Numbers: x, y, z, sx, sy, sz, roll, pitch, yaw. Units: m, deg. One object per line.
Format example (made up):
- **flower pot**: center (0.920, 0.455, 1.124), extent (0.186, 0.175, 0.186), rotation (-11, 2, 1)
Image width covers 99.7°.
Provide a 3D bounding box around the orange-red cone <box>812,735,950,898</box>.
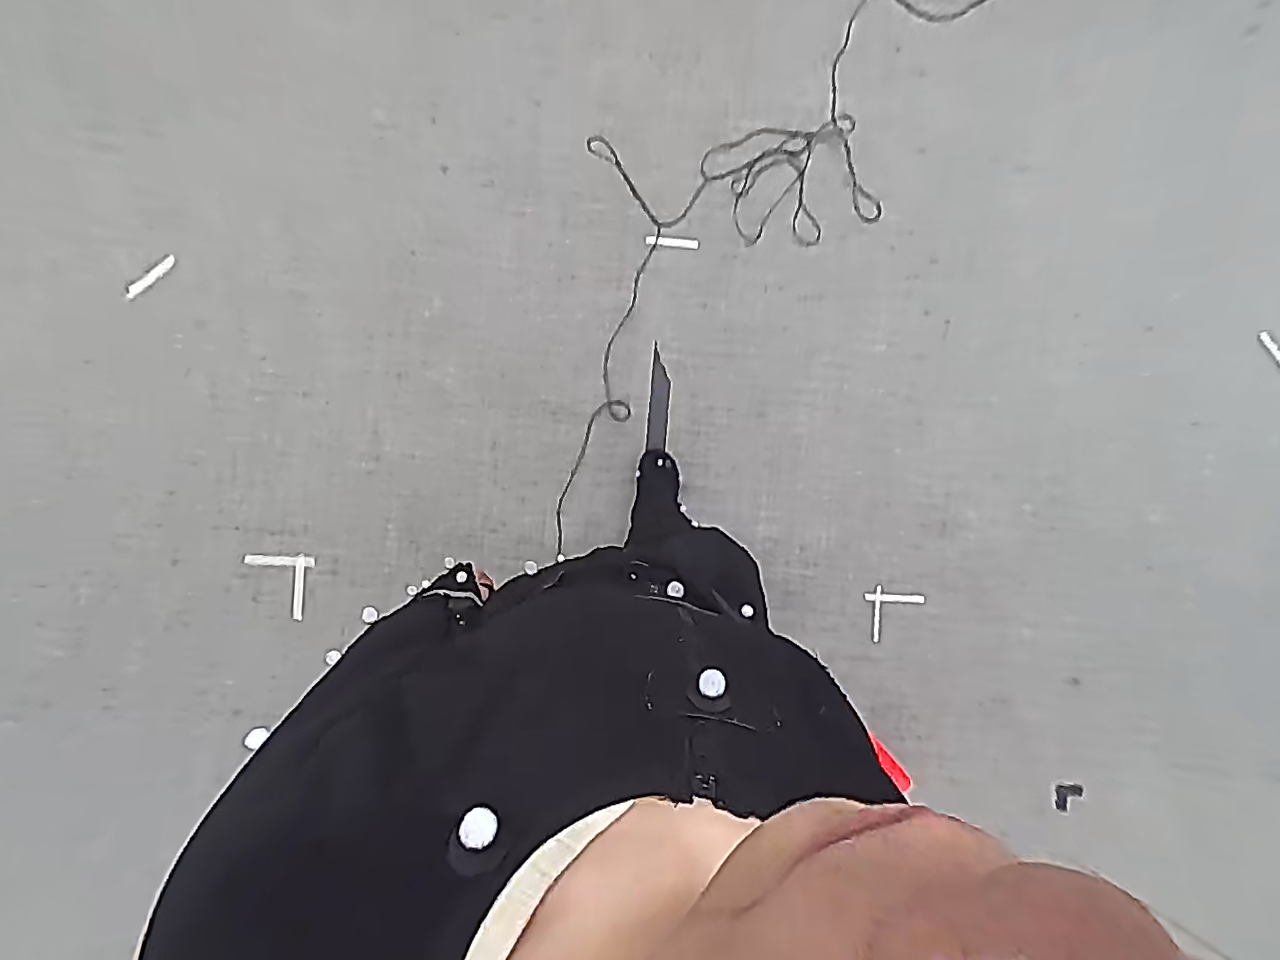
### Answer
- **orange-red cone**: center (0.550, 0.751, 1.162), extent (0.199, 0.360, 0.198), rotation (-40, 88, -1)
